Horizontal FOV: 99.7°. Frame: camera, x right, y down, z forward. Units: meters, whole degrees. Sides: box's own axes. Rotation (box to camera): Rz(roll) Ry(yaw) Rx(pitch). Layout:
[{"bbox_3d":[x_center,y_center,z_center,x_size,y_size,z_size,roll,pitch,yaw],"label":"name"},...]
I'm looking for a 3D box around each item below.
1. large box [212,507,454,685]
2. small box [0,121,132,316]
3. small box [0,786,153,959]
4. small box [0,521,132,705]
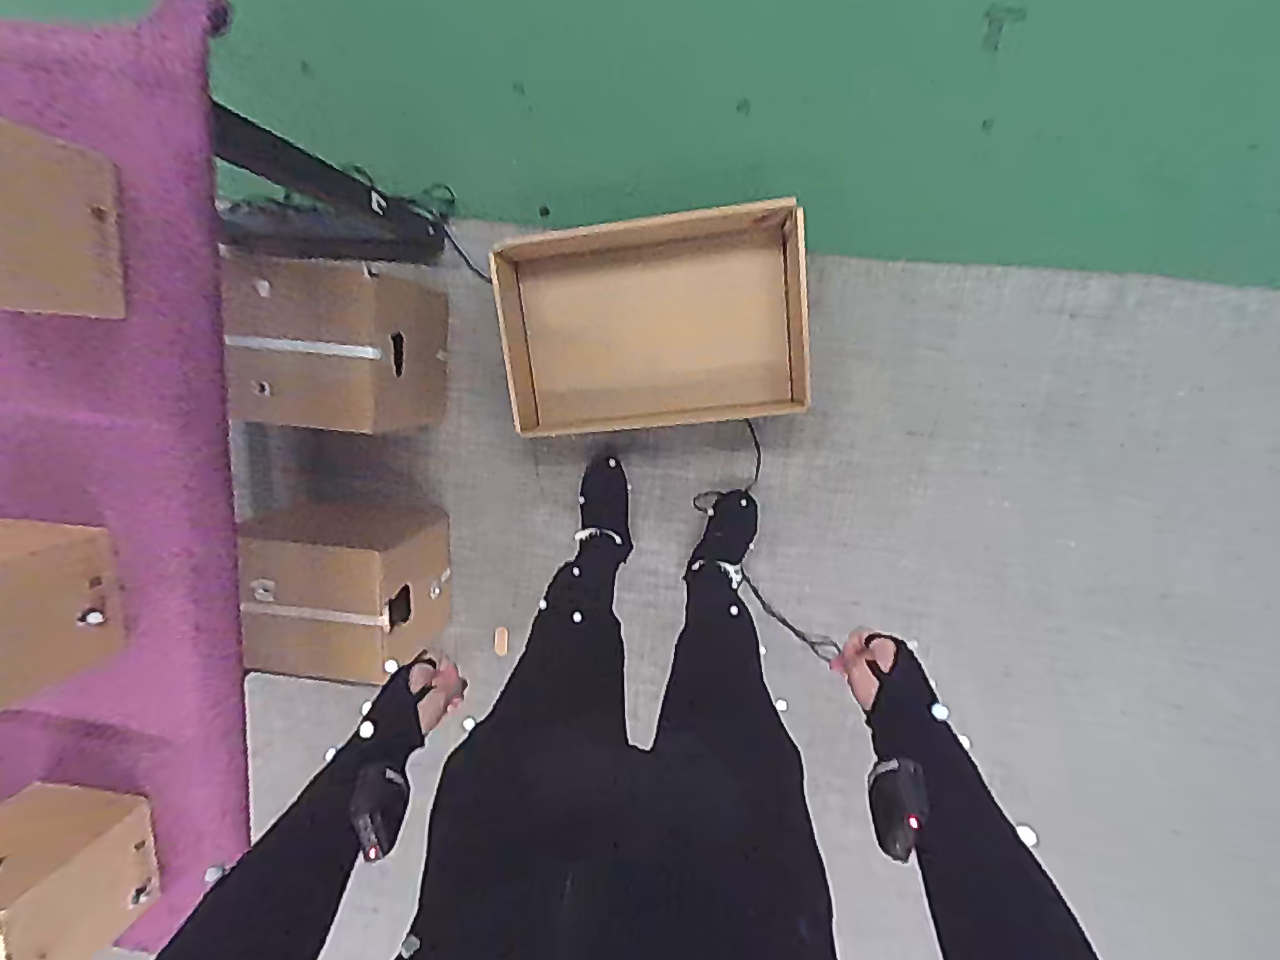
[{"bbox_3d":[-0.711,0.257,1.310,0.408,0.320,0.320,4,100,7],"label":"large box"},{"bbox_3d":[-0.657,-0.258,0.525,0.179,0.176,0.168,9,103,7],"label":"small box"},{"bbox_3d":[-0.771,0.526,0.689,0.179,0.176,0.168,5,101,7],"label":"small box"},{"bbox_3d":[-0.746,0.149,0.617,0.179,0.176,0.168,5,102,6],"label":"small box"}]
